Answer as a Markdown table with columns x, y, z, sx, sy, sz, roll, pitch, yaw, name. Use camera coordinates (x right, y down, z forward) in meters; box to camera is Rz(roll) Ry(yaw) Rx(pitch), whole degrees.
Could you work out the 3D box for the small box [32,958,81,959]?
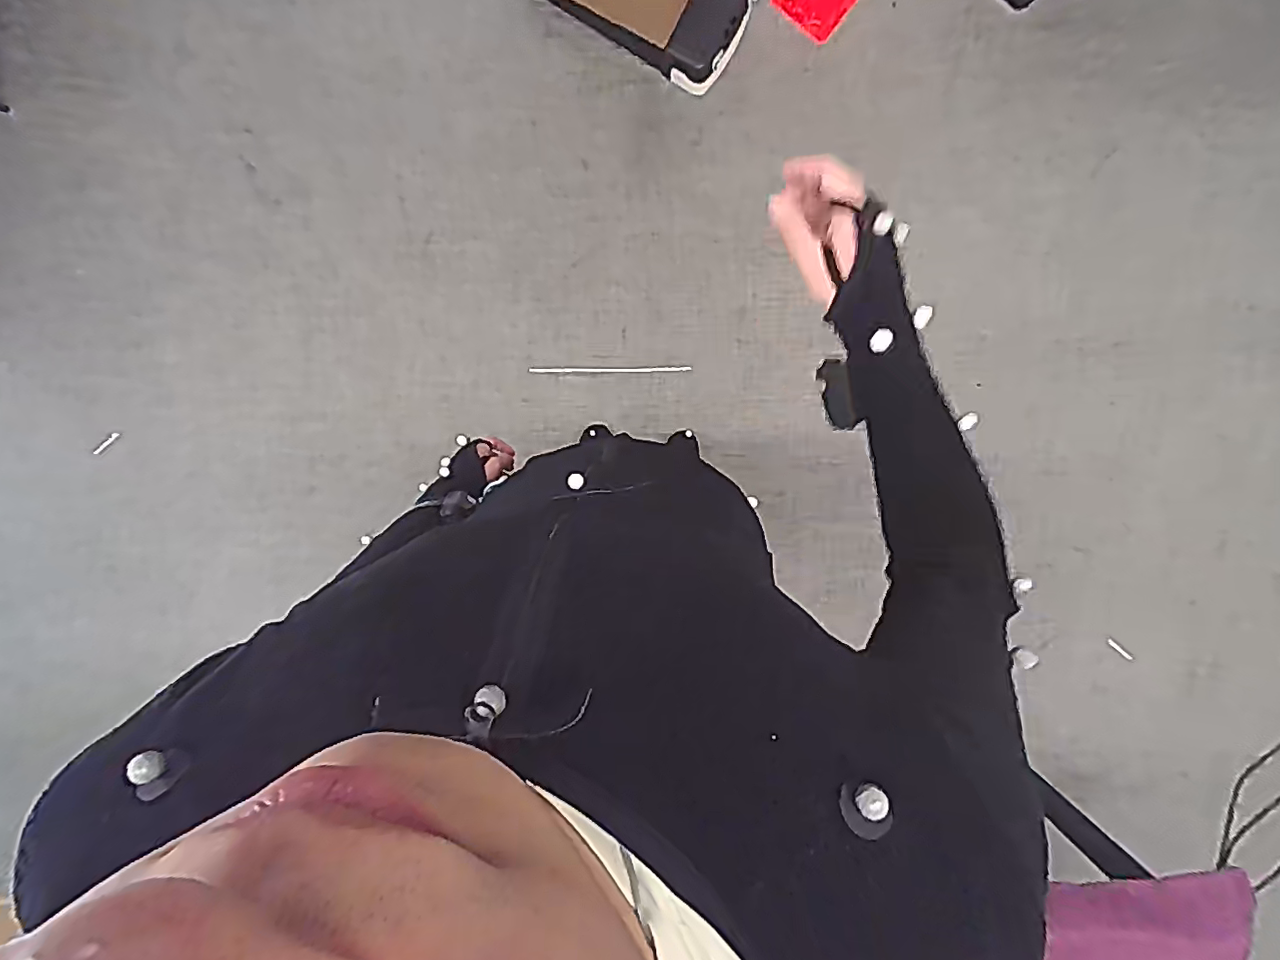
| x | y | z | sx | sy | sz | roll | pitch | yaw | name |
| --- | --- | --- | --- | --- | --- | --- | --- | --- | --- |
| -1.422 | 1.253 | 1.246 | 0.179 | 0.176 | 0.168 | 1 | 94 | 0 | small box |
